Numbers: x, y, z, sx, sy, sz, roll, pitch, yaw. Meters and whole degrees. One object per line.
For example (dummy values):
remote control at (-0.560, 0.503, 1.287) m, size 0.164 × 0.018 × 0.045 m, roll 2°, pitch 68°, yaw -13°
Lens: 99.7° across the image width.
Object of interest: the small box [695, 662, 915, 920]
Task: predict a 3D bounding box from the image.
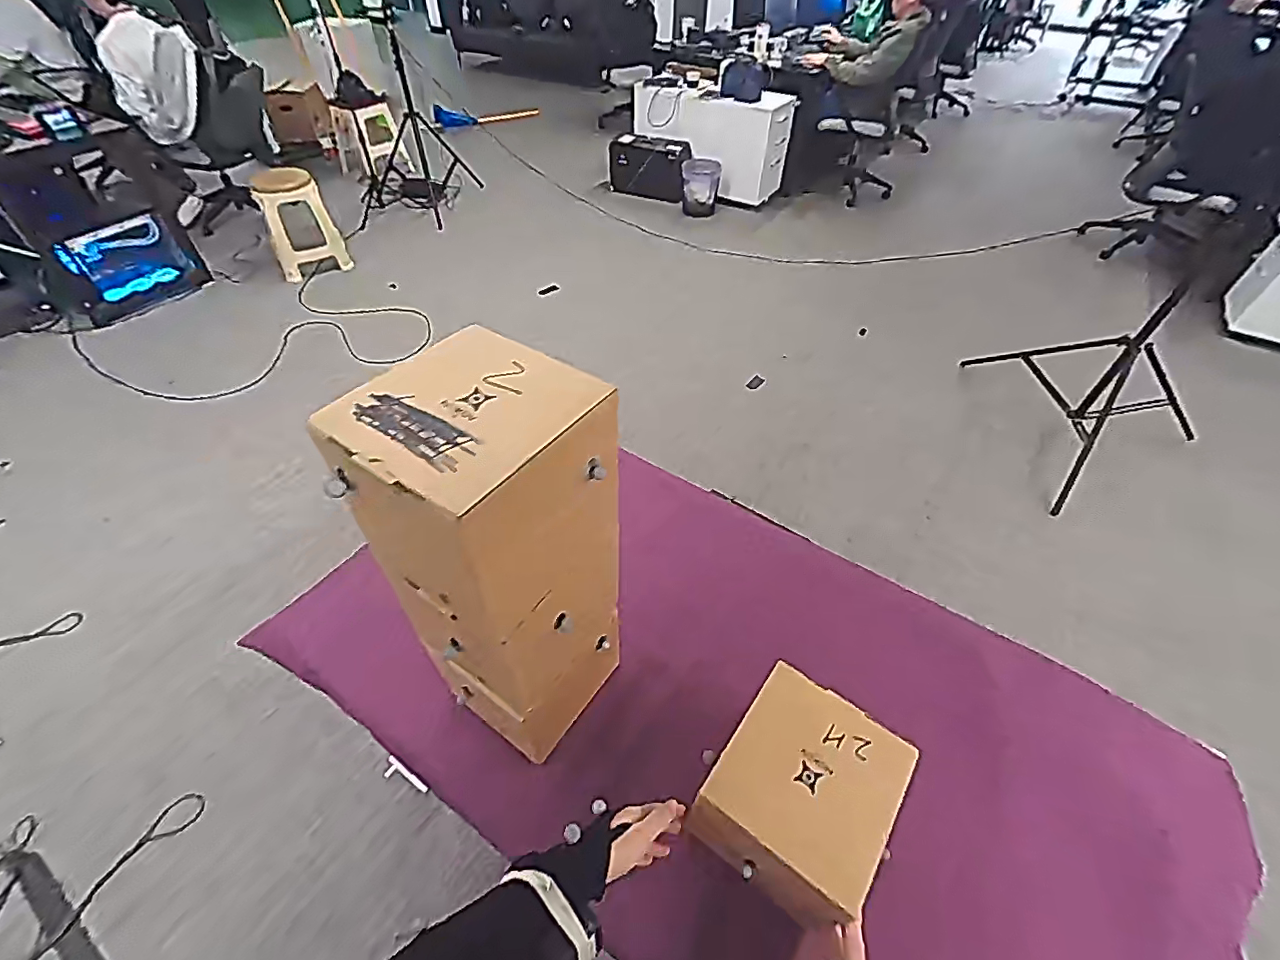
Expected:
small box at (0.175, 0.353, 0.614) m, size 0.168 × 0.176 × 0.179 m, roll 30°, pitch 53°, yaw 23°

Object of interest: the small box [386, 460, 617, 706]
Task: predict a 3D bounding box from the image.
small box at (-0.136, 0.116, 0.603) m, size 0.168 × 0.176 × 0.179 m, roll 26°, pitch 52°, yaw 20°

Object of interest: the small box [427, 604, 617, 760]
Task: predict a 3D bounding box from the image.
small box at (-0.142, 0.232, 0.719) m, size 0.168 × 0.176 × 0.179 m, roll 28°, pitch 51°, yaw 22°
